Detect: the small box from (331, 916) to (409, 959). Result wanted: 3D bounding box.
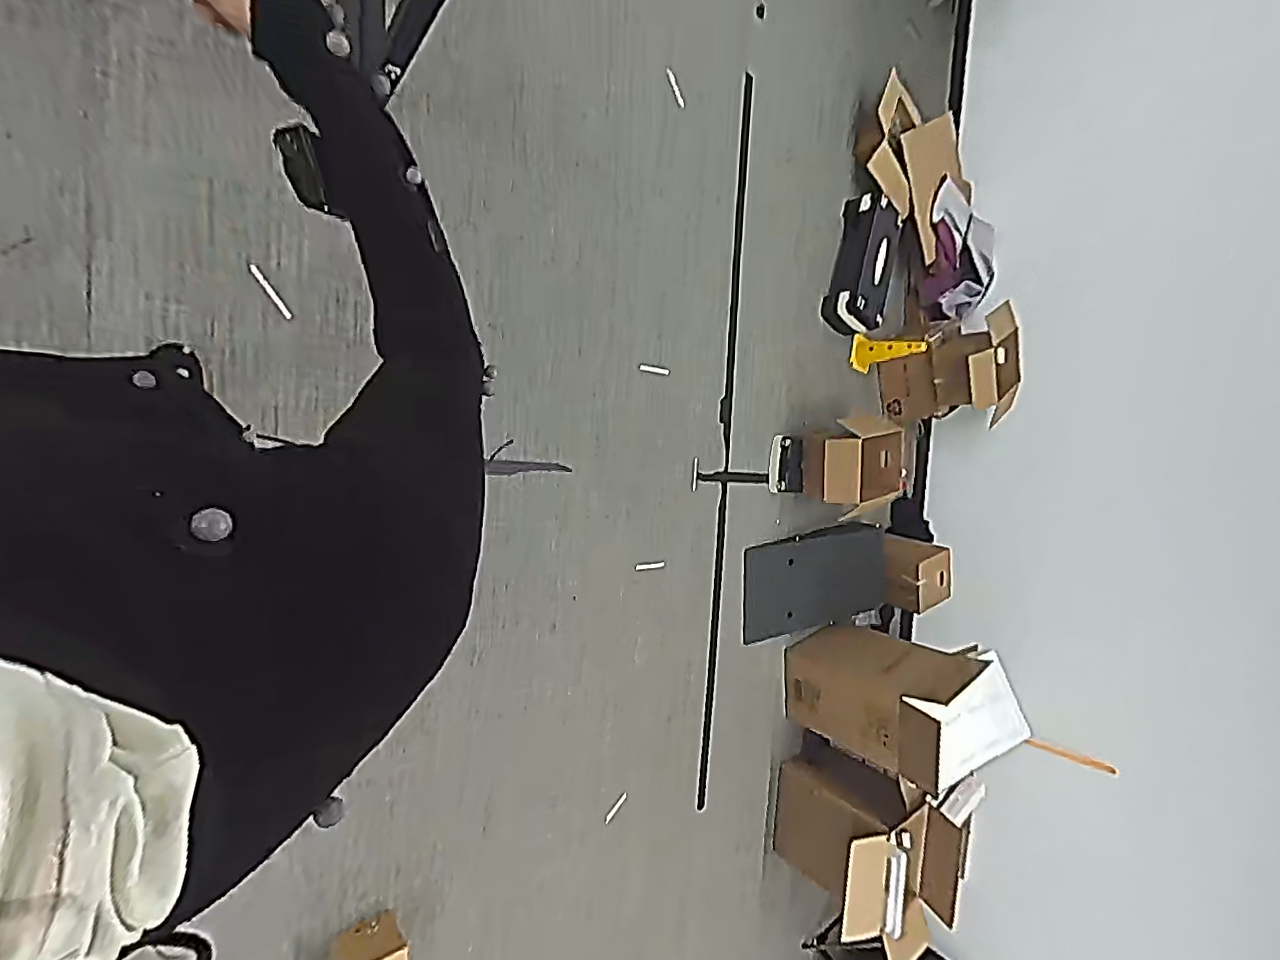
[{"bbox_3d":[-0.786,1.427,1.560,0.168,0.176,0.179,4,93,-41],"label":"small box"}]
